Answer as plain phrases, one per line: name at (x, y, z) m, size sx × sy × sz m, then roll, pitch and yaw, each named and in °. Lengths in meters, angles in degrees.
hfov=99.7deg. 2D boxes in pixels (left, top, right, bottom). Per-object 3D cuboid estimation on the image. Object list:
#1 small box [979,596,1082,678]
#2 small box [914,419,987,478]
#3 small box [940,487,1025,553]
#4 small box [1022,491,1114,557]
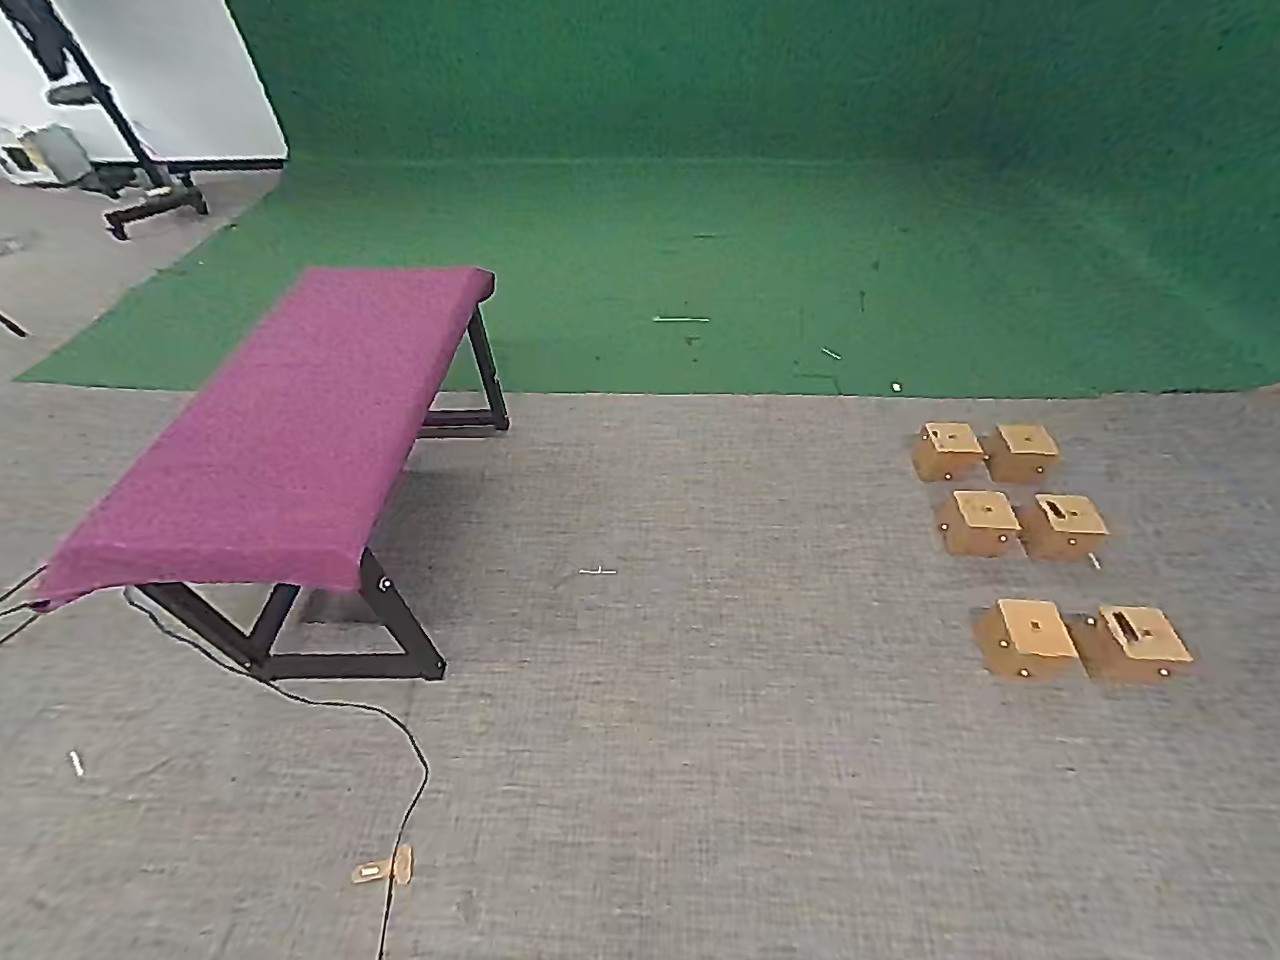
small box at (1.155, 0.468, 1.616) m, size 0.168 × 0.176 × 0.179 m, roll 2°, pitch 49°, yaw 5°
small box at (1.222, -0.121, 2.142) m, size 0.179 × 0.176 × 0.168 m, roll 2°, pitch 47°, yaw 3°
small box at (1.196, 0.145, 1.903) m, size 0.179 × 0.176 × 0.168 m, roll 2°, pitch 48°, yaw 4°
small box at (1.473, 0.155, 1.882) m, size 0.179 × 0.176 × 0.168 m, roll 3°, pitch 48°, yaw 4°
